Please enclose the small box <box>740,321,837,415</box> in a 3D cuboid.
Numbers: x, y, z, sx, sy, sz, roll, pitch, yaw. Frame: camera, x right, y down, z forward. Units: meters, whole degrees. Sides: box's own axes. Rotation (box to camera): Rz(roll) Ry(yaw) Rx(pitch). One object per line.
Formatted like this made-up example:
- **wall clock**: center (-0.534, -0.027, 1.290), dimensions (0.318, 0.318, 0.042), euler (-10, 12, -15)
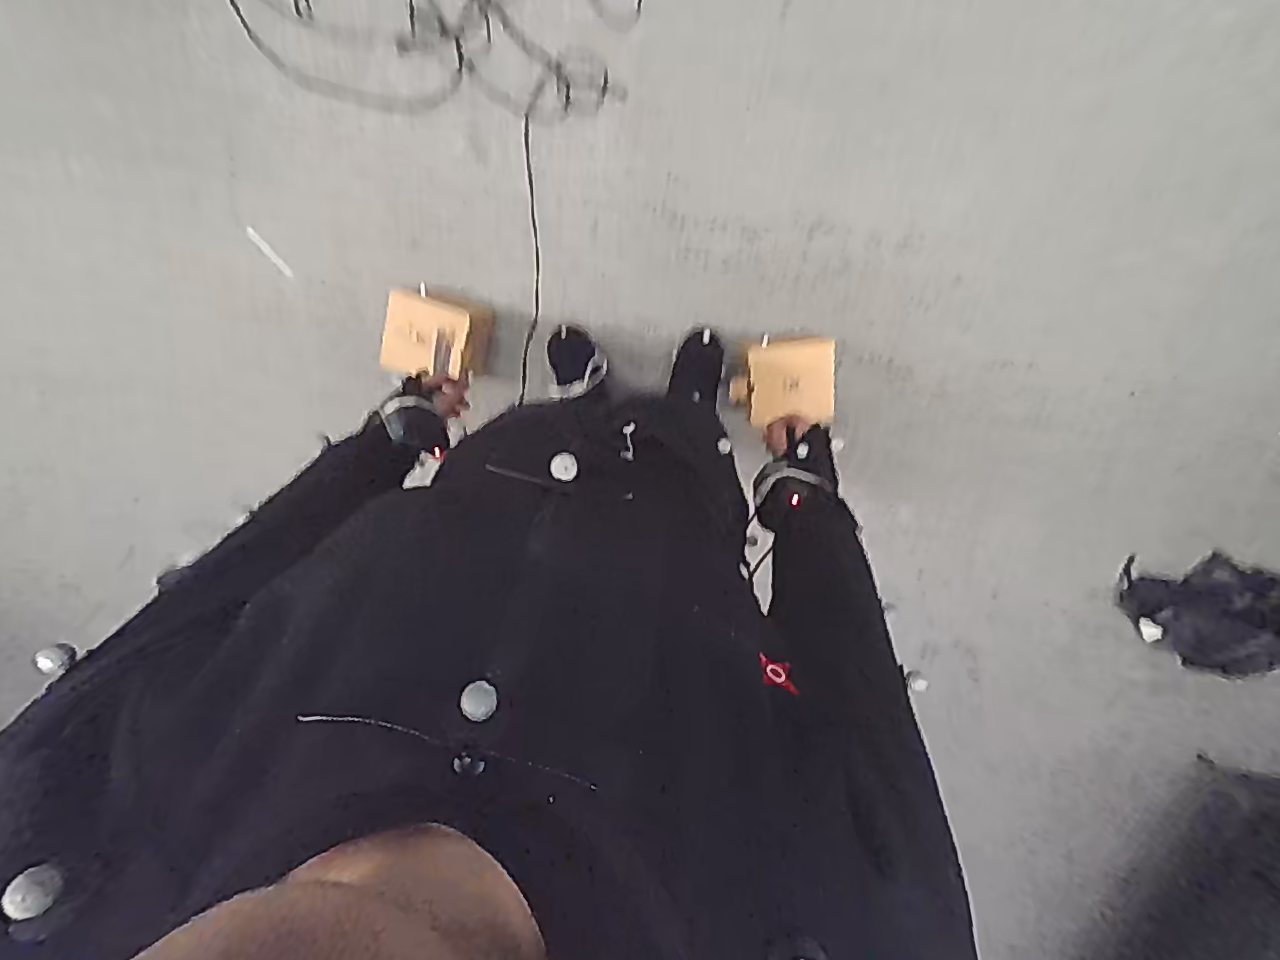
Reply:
- **small box**: center (0.322, -0.252, 1.195), dimensions (0.179, 0.176, 0.168), euler (-5, 112, 6)
